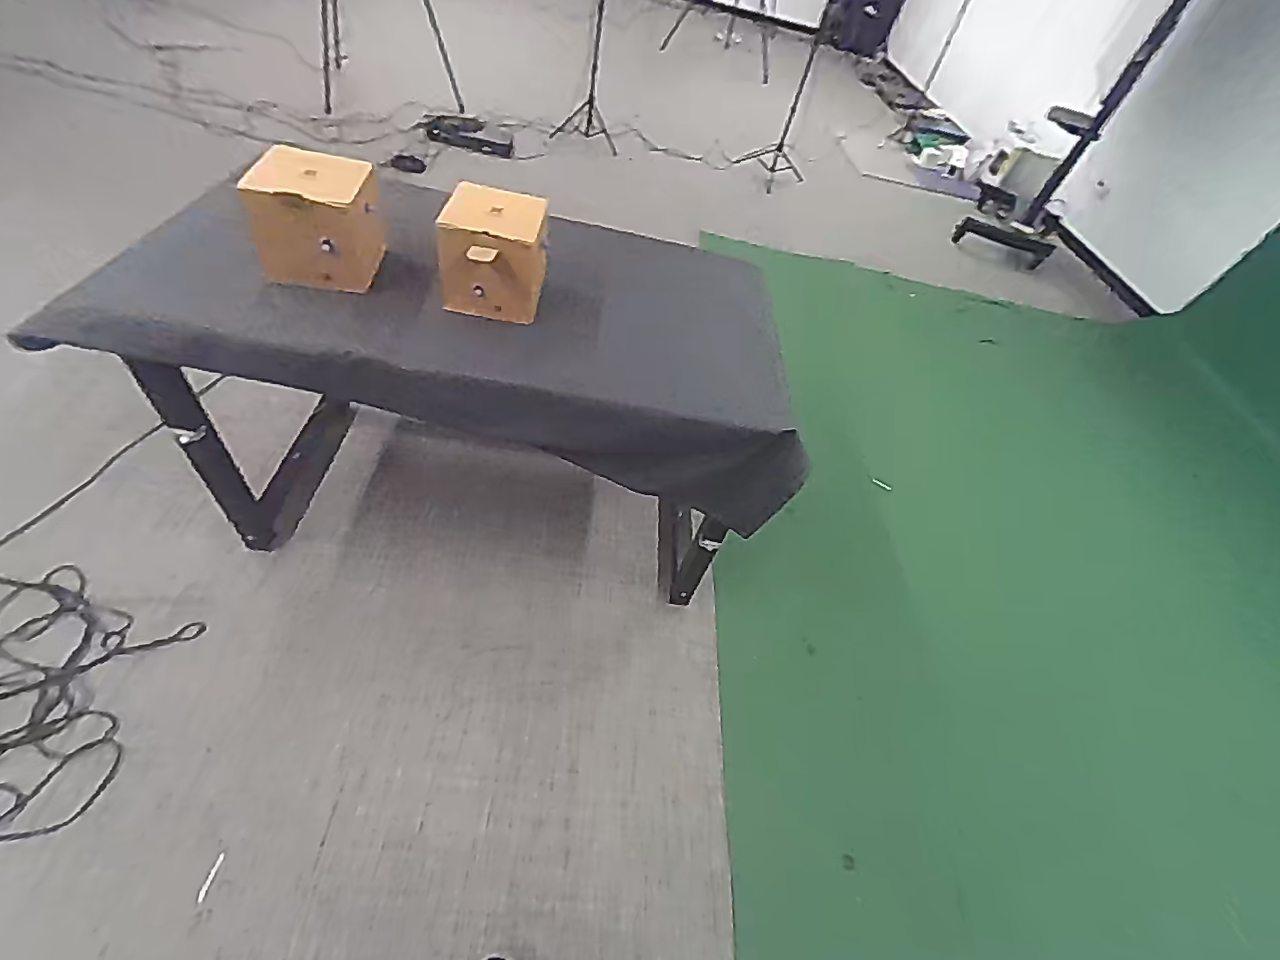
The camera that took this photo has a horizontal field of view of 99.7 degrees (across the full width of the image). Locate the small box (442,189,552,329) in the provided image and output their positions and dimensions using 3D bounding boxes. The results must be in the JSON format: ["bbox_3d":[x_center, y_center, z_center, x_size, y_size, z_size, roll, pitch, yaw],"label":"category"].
[{"bbox_3d":[-0.267,-0.416,1.026,0.168,0.176,0.179,9,49,-8],"label":"small box"}]

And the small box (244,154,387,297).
[{"bbox_3d":[-0.569,-0.455,0.979,0.168,0.176,0.179,5,48,-13],"label":"small box"}]
